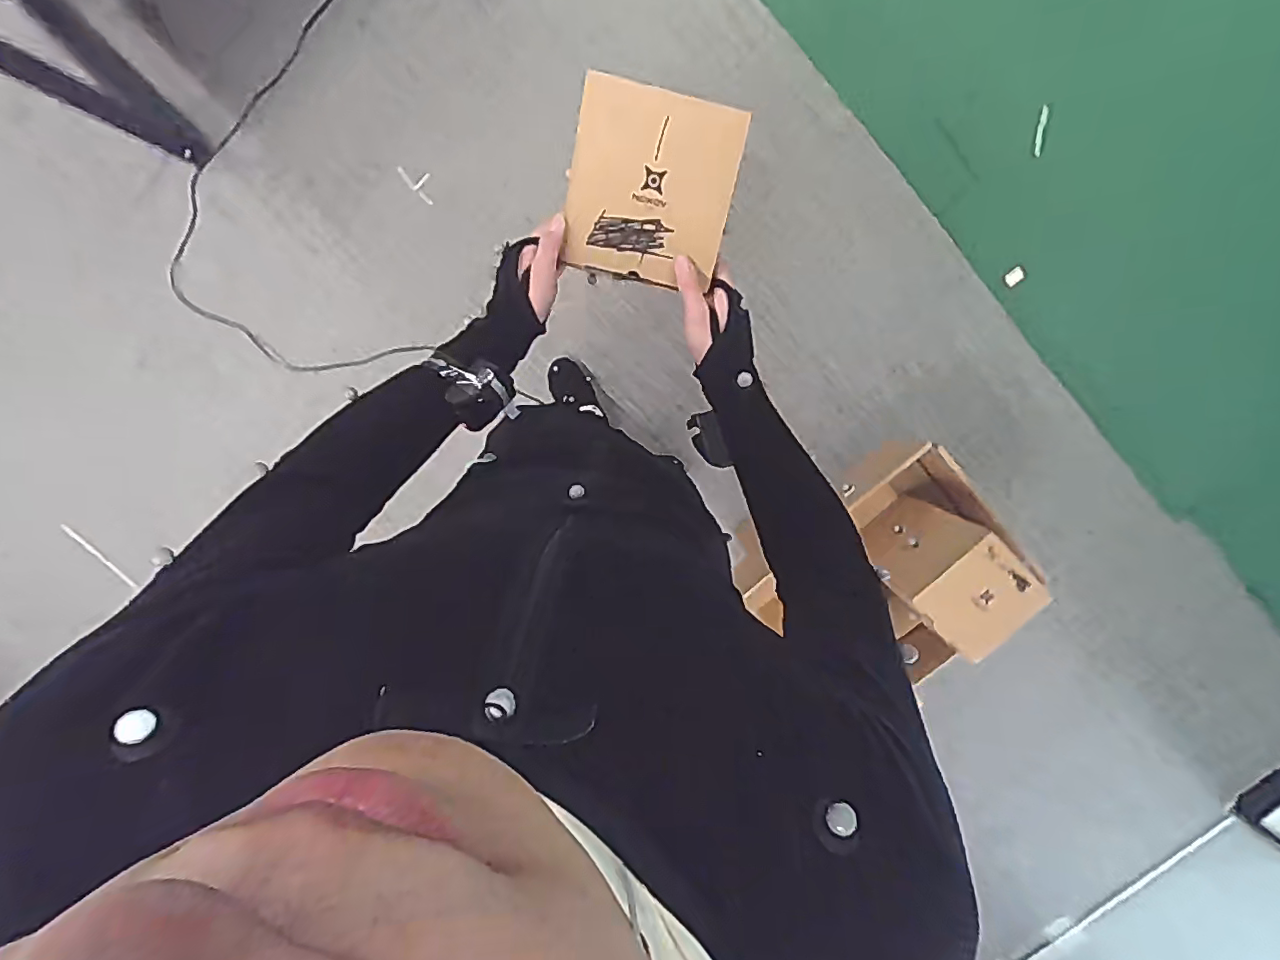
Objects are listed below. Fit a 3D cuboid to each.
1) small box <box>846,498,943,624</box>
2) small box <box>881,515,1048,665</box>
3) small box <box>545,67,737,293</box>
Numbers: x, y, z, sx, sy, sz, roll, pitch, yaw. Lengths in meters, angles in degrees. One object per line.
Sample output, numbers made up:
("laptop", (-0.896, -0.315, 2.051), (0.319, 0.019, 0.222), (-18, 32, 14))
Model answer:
("small box", (0.575, 0.162, 1.147), (0.179, 0.176, 0.168), (-42, 97, 9))
("small box", (0.570, 0.190, 0.986), (0.179, 0.176, 0.168), (-44, 96, 9))
("small box", (-0.003, -0.319, 0.618), (0.168, 0.176, 0.179), (11, 107, -6))
